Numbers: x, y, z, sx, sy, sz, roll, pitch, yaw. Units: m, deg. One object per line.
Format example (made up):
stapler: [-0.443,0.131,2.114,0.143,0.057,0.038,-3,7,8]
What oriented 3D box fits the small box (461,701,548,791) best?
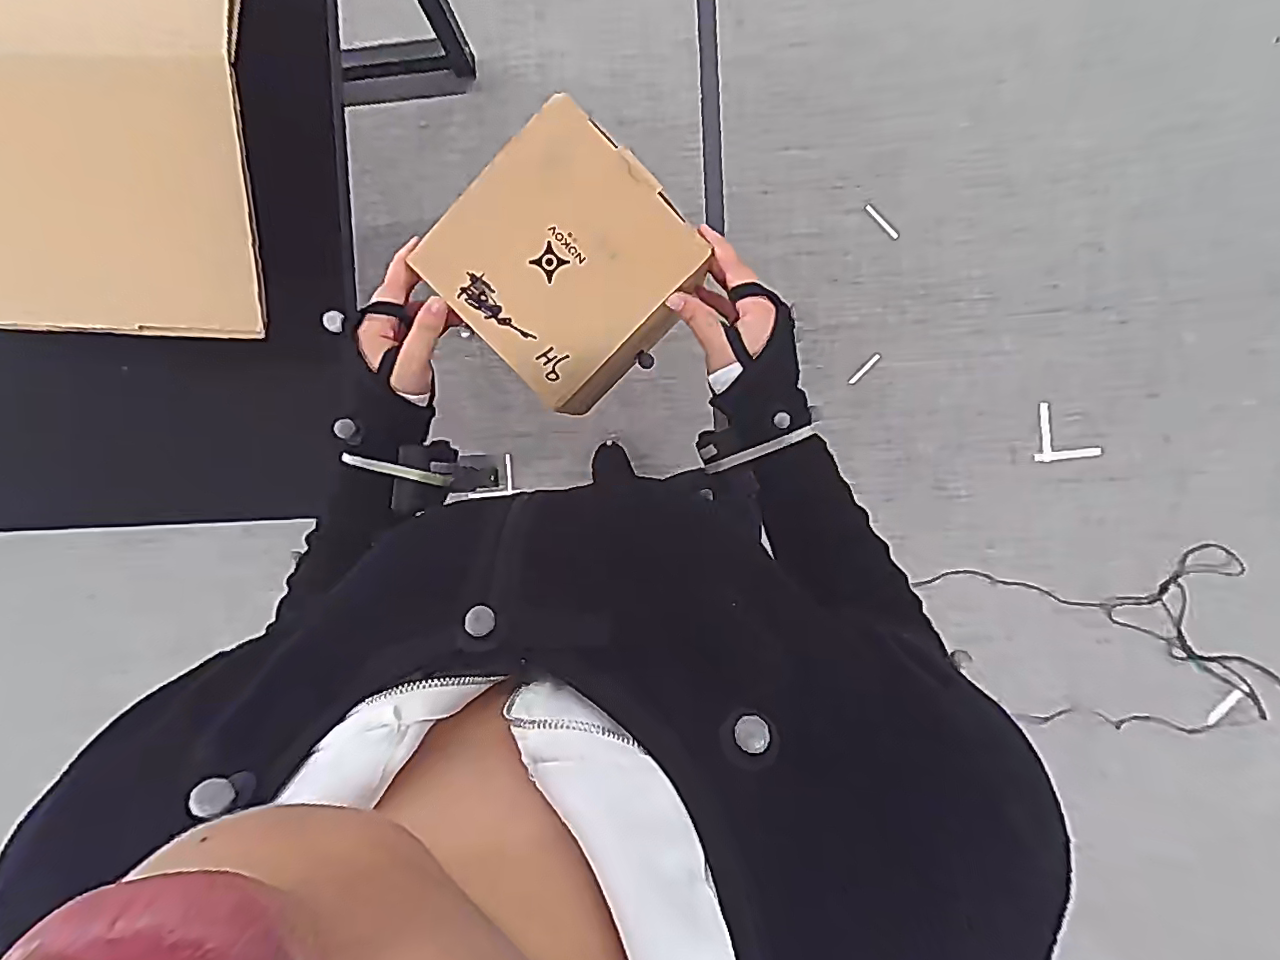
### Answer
small box: [-0.358,0.711,1.448,0.179,0.176,0.168,-7,91,2]
